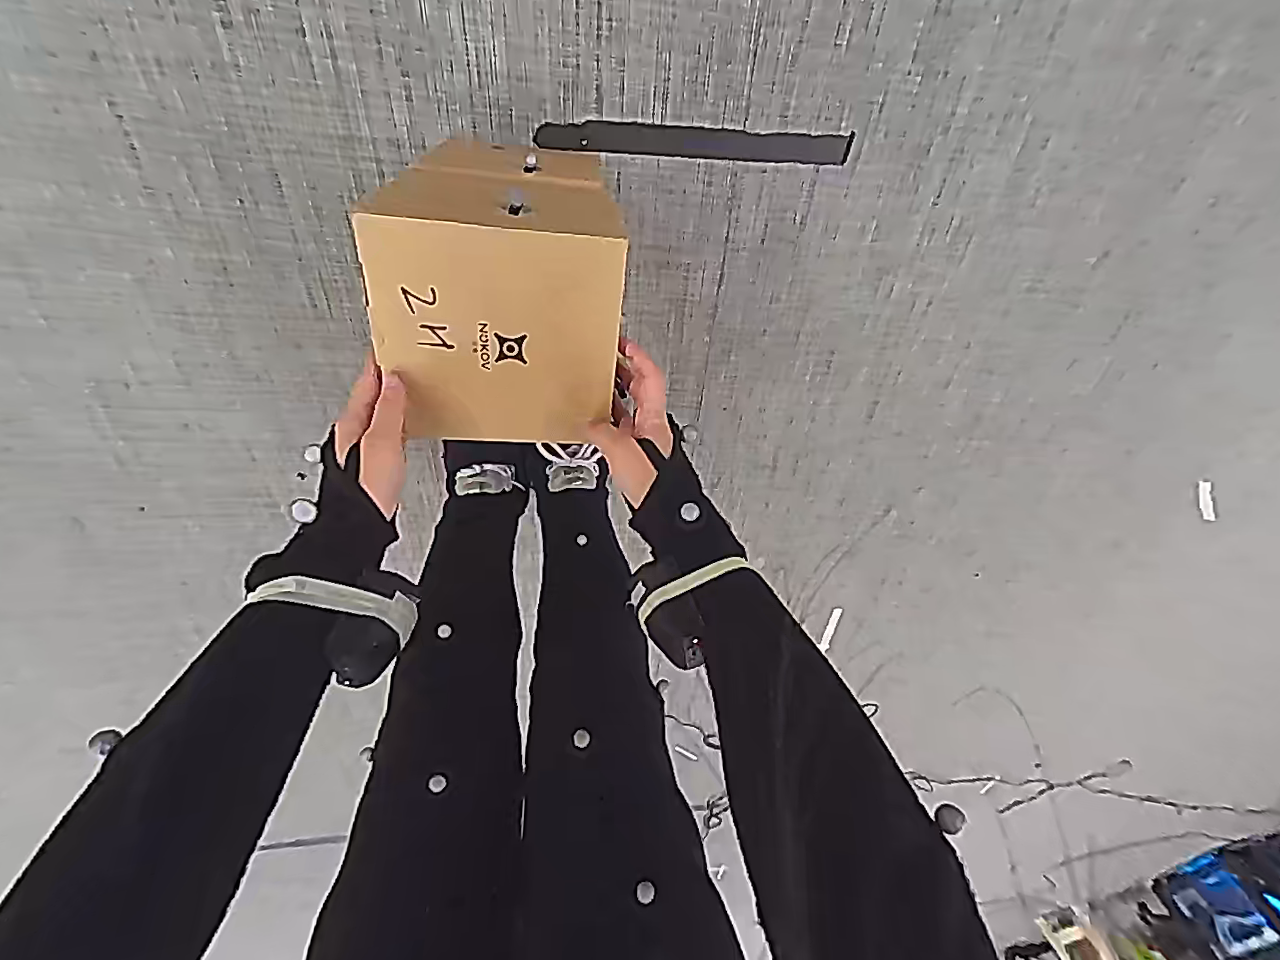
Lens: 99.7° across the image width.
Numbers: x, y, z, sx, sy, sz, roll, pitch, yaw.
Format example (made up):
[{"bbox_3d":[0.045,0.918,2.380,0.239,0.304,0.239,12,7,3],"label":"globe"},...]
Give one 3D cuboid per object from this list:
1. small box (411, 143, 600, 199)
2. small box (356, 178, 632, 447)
[{"bbox_3d":[-0.132,-0.245,0.585,0.168,0.176,0.179,0,128,-8],"label":"small box"},{"bbox_3d":[-0.110,-0.143,0.455,0.179,0.176,0.168,2,127,-9],"label":"small box"}]
